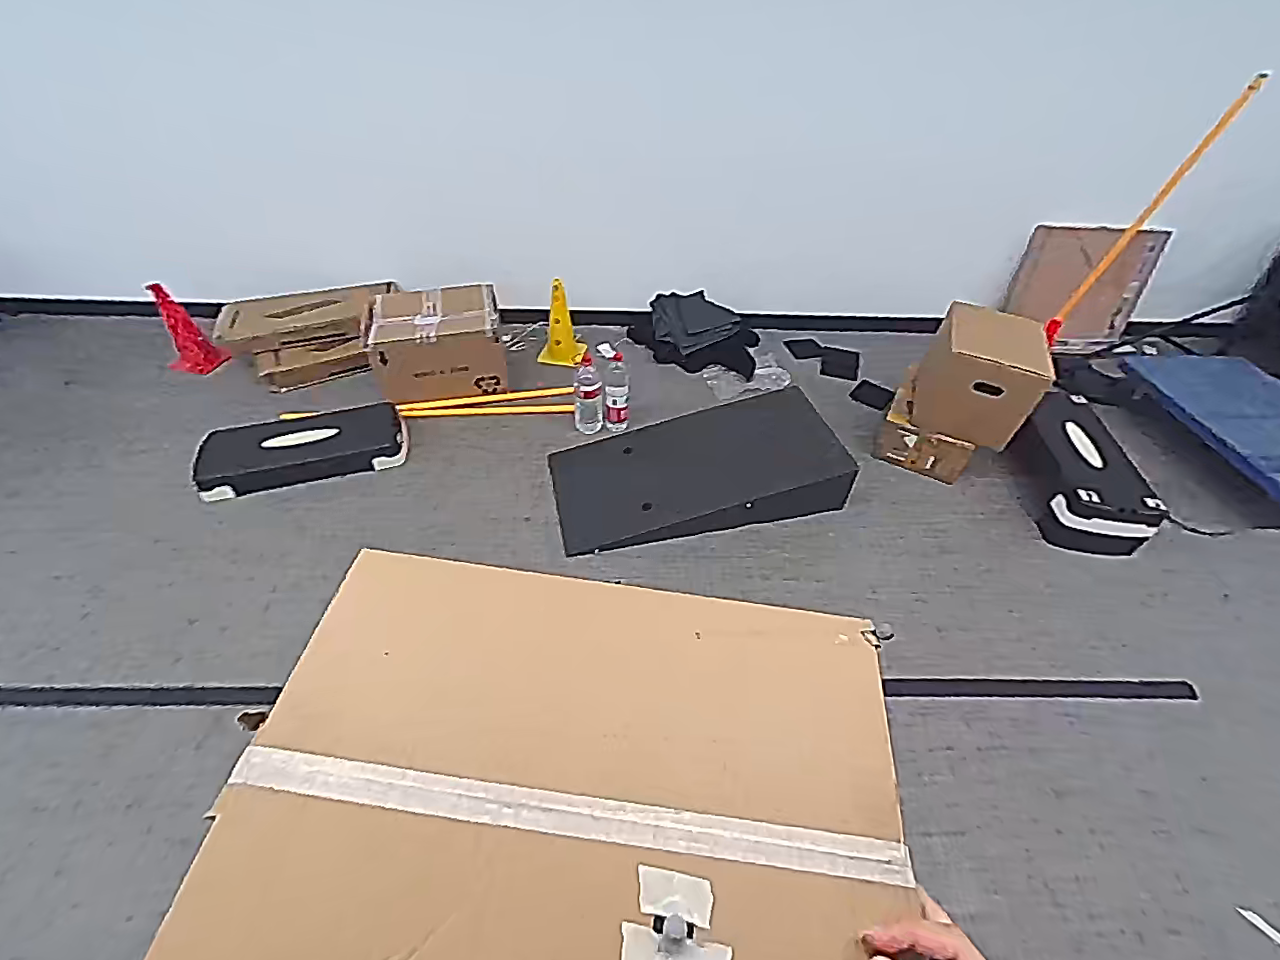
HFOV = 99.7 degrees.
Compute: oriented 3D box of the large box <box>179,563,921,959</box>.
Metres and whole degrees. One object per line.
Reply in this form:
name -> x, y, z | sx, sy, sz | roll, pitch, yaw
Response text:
large box -> -0.045, 0.300, 0.450 | 0.408, 0.320, 0.320 | 8, 52, 2
